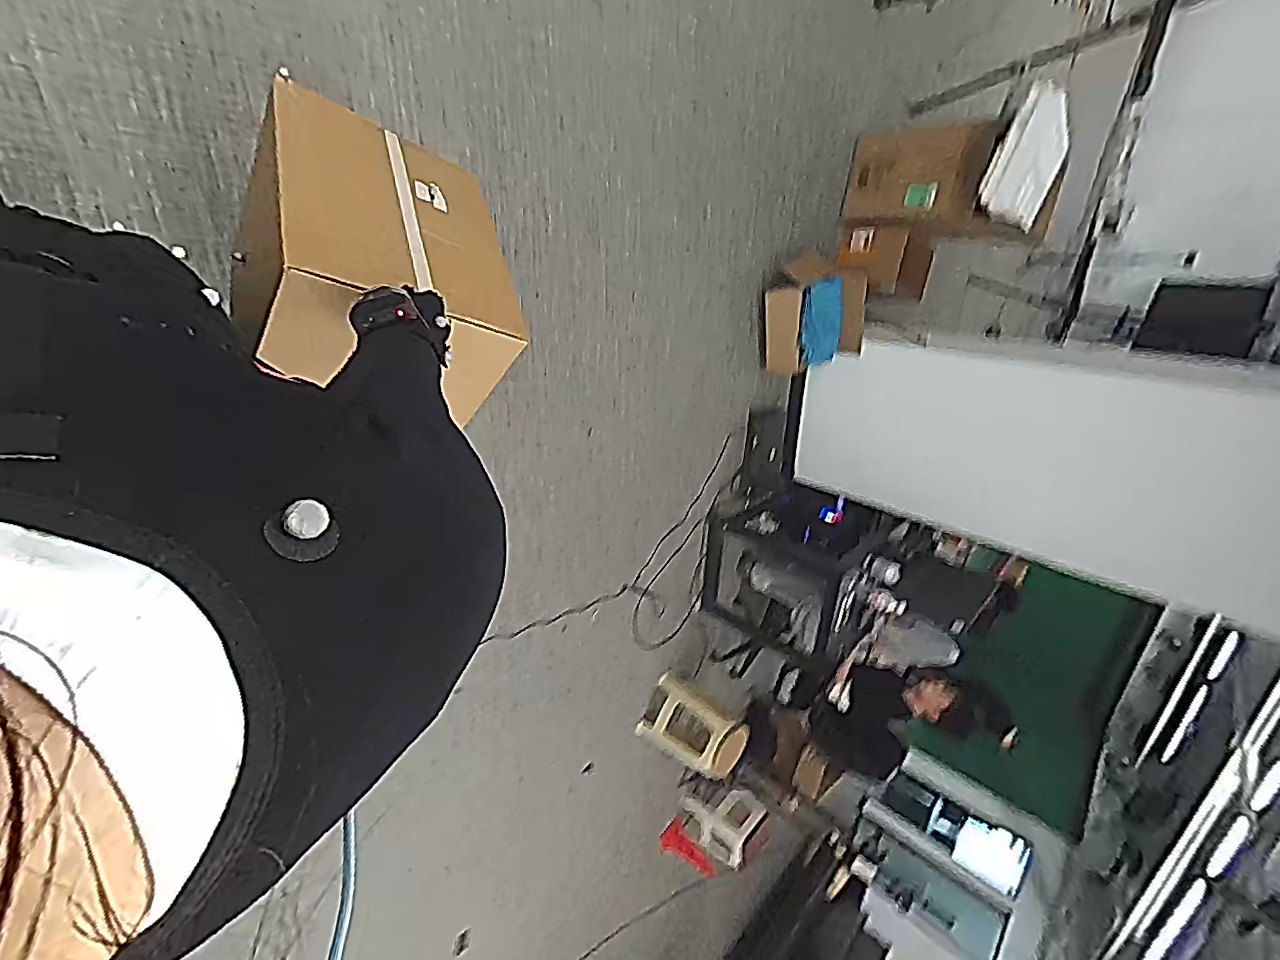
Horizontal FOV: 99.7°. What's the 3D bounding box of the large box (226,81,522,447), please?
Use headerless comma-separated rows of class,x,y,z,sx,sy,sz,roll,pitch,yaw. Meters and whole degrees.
large box,-0.444,-0.306,0.868,0.320,0.408,0.320,6,142,-46
